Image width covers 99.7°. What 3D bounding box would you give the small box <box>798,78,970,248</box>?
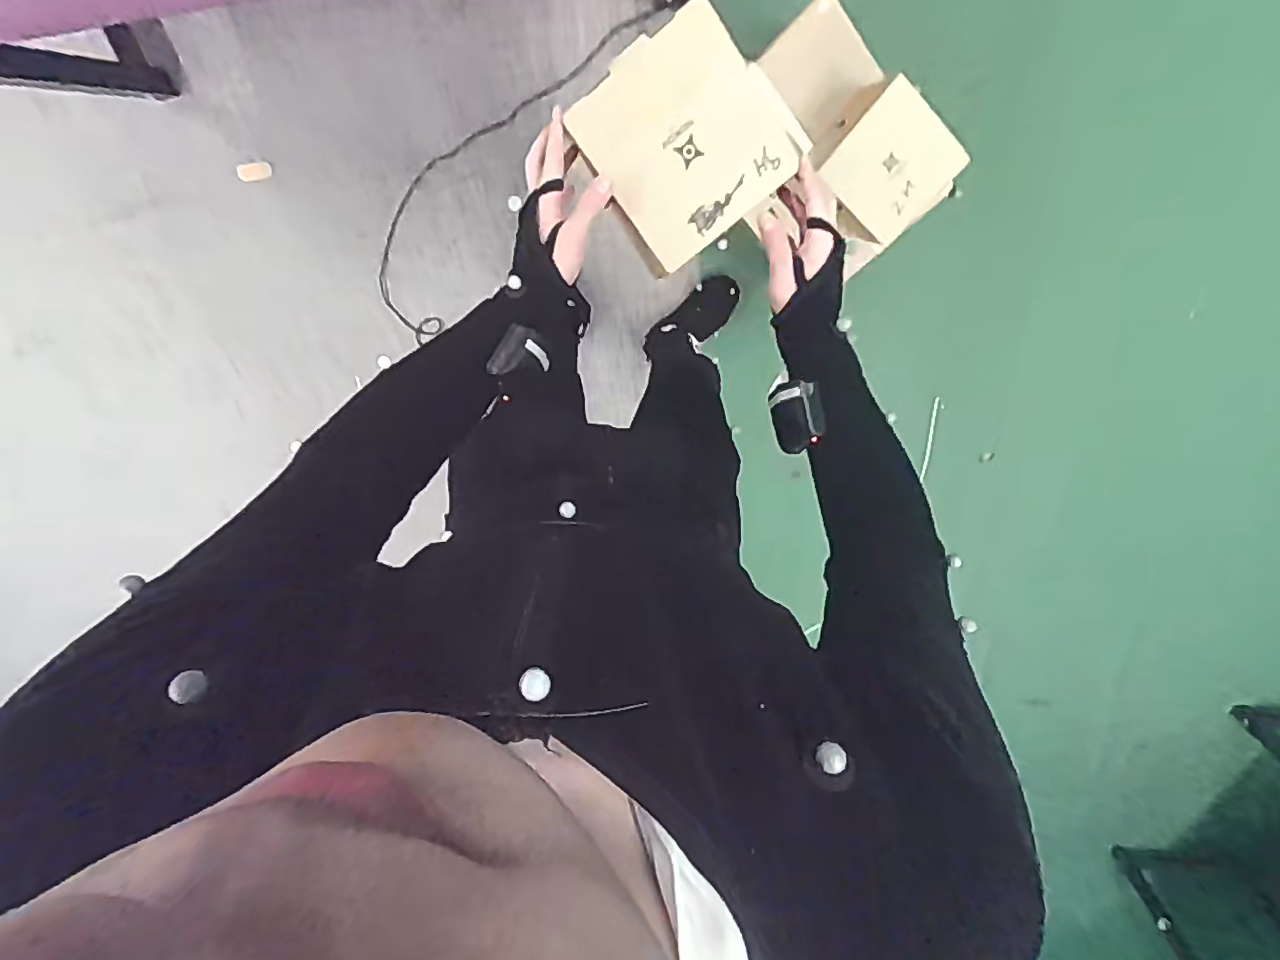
[{"bbox_3d":[0.394,-0.521,0.908,0.179,0.176,0.168,36,115,-18],"label":"small box"}]

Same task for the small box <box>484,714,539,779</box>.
[{"bbox_3d":[-0.518,1.090,2.206,0.168,0.176,0.179,2,120,5],"label":"small box"}]

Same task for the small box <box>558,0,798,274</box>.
[{"bbox_3d":[0.033,-0.344,0.583,0.168,0.176,0.179,-36,106,9],"label":"small box"}]
